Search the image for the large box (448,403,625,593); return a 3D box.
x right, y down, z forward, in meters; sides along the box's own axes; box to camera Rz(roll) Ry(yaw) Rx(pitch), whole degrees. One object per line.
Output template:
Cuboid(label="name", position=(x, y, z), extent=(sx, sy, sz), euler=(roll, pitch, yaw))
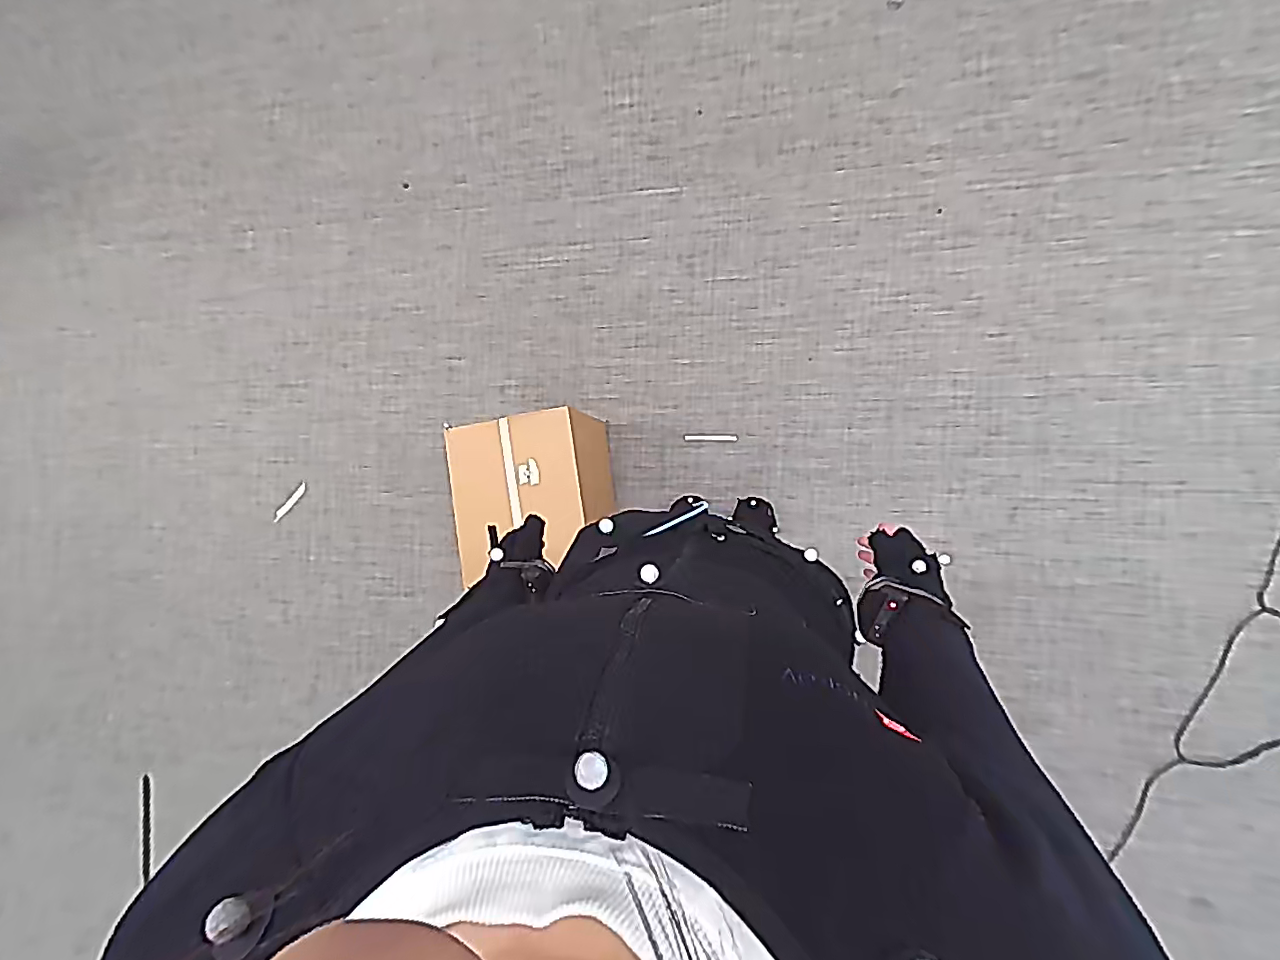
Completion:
Cuboid(label="large box", position=(-0.246, 0.048, 1.383), extent=(0.320, 0.320, 0.408), euler=(-9, 87, 11))
